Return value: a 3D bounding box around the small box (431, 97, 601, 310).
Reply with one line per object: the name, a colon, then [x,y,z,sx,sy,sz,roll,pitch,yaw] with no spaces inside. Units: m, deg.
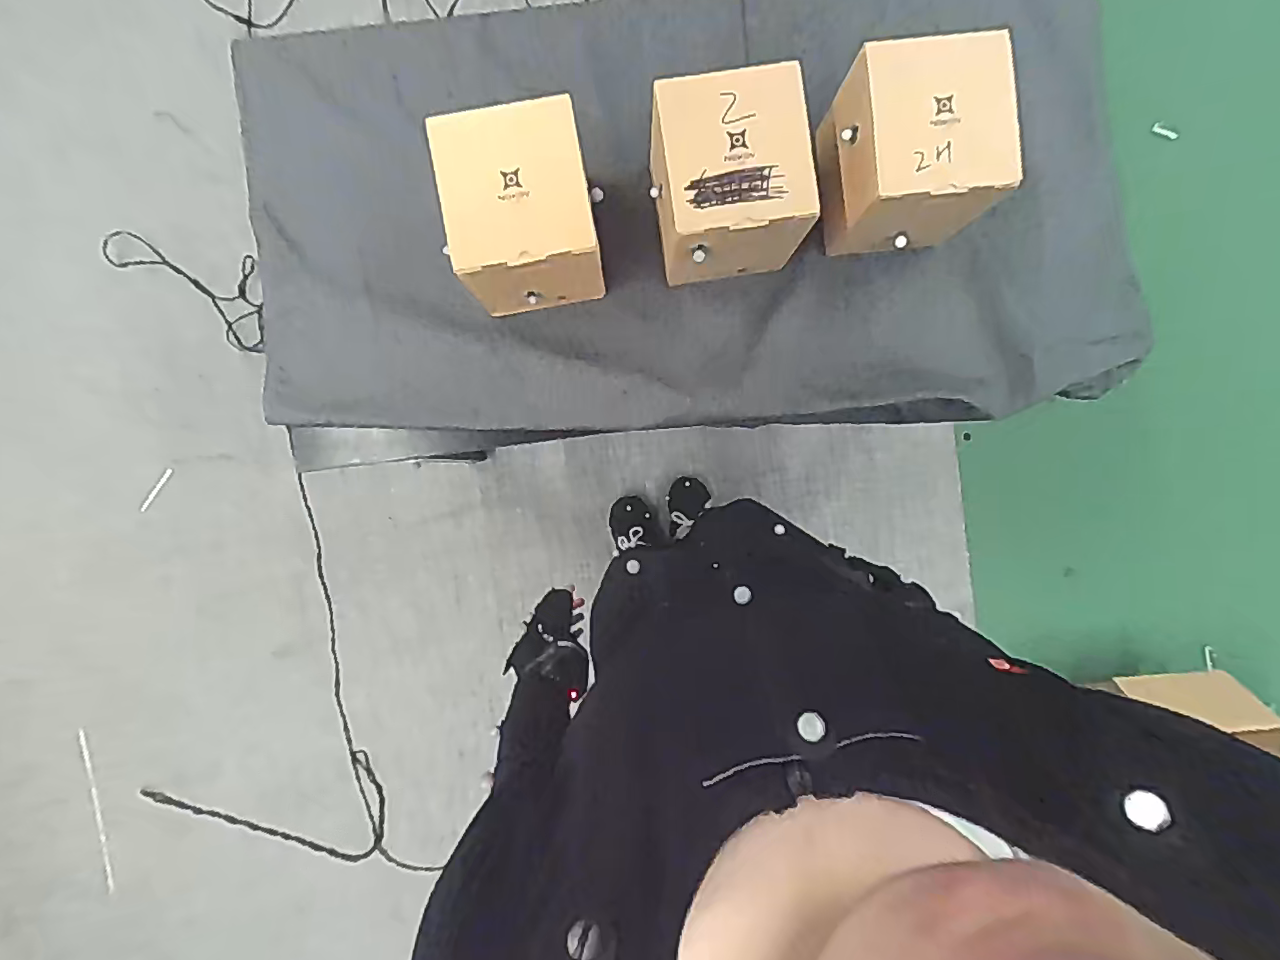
small box: [-0.145,-0.338,0.690,0.168,0.176,0.179,-10,92,-1]
